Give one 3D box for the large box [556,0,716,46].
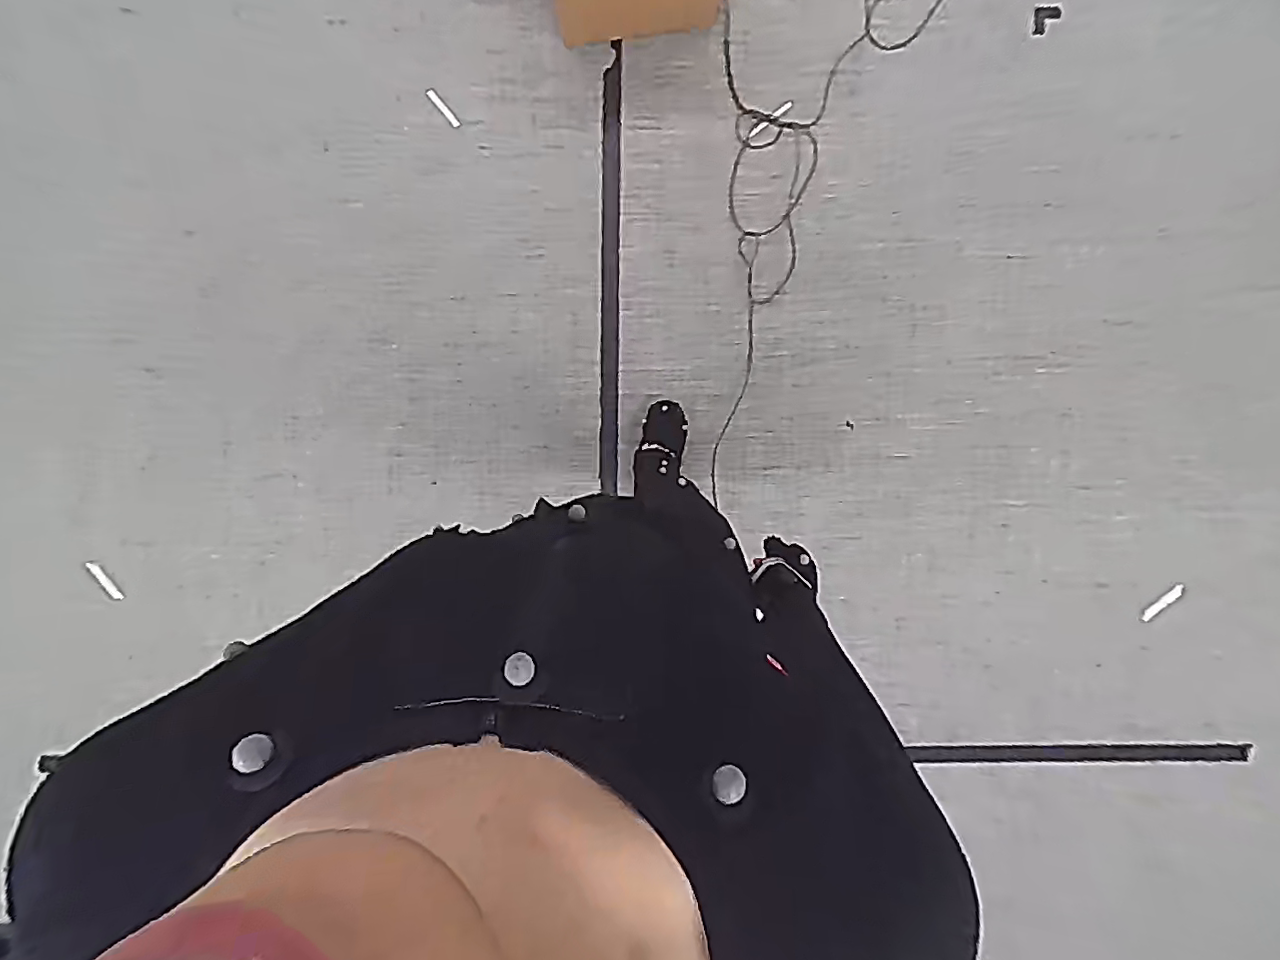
[{"bbox_3d":[-0.028,-1.315,1.271,0.408,0.320,0.320,-8,92,0],"label":"large box"}]
